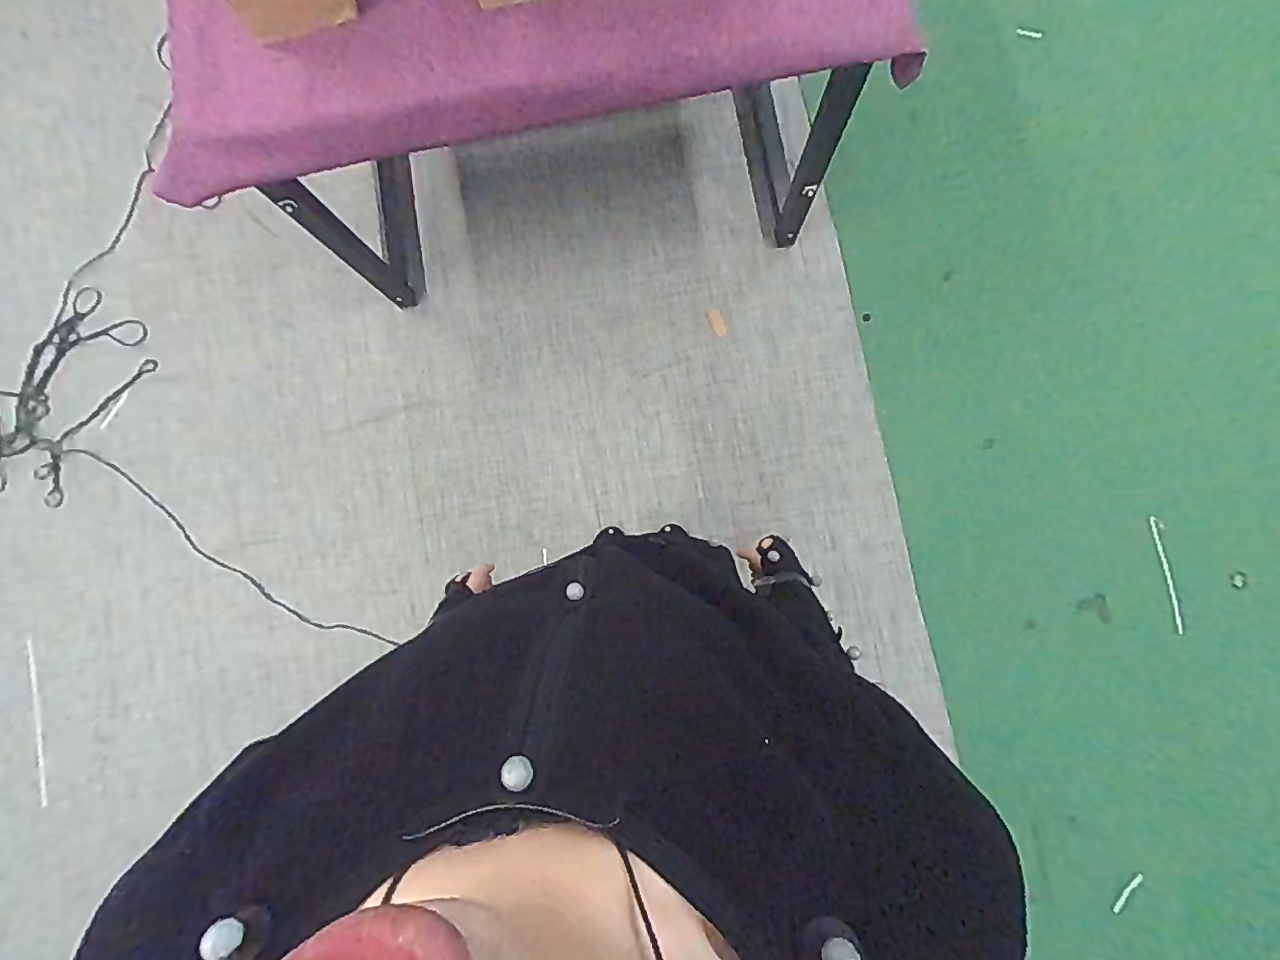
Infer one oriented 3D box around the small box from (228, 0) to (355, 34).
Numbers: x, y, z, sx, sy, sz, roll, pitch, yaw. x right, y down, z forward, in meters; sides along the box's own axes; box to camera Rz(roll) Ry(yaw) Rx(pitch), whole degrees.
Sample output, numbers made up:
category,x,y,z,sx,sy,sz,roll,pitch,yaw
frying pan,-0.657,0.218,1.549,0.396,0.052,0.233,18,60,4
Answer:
category,x,y,z,sx,sy,sz,roll,pitch,yaw
small box,-0.570,-0.828,0.816,0.179,0.176,0.168,-14,85,0
